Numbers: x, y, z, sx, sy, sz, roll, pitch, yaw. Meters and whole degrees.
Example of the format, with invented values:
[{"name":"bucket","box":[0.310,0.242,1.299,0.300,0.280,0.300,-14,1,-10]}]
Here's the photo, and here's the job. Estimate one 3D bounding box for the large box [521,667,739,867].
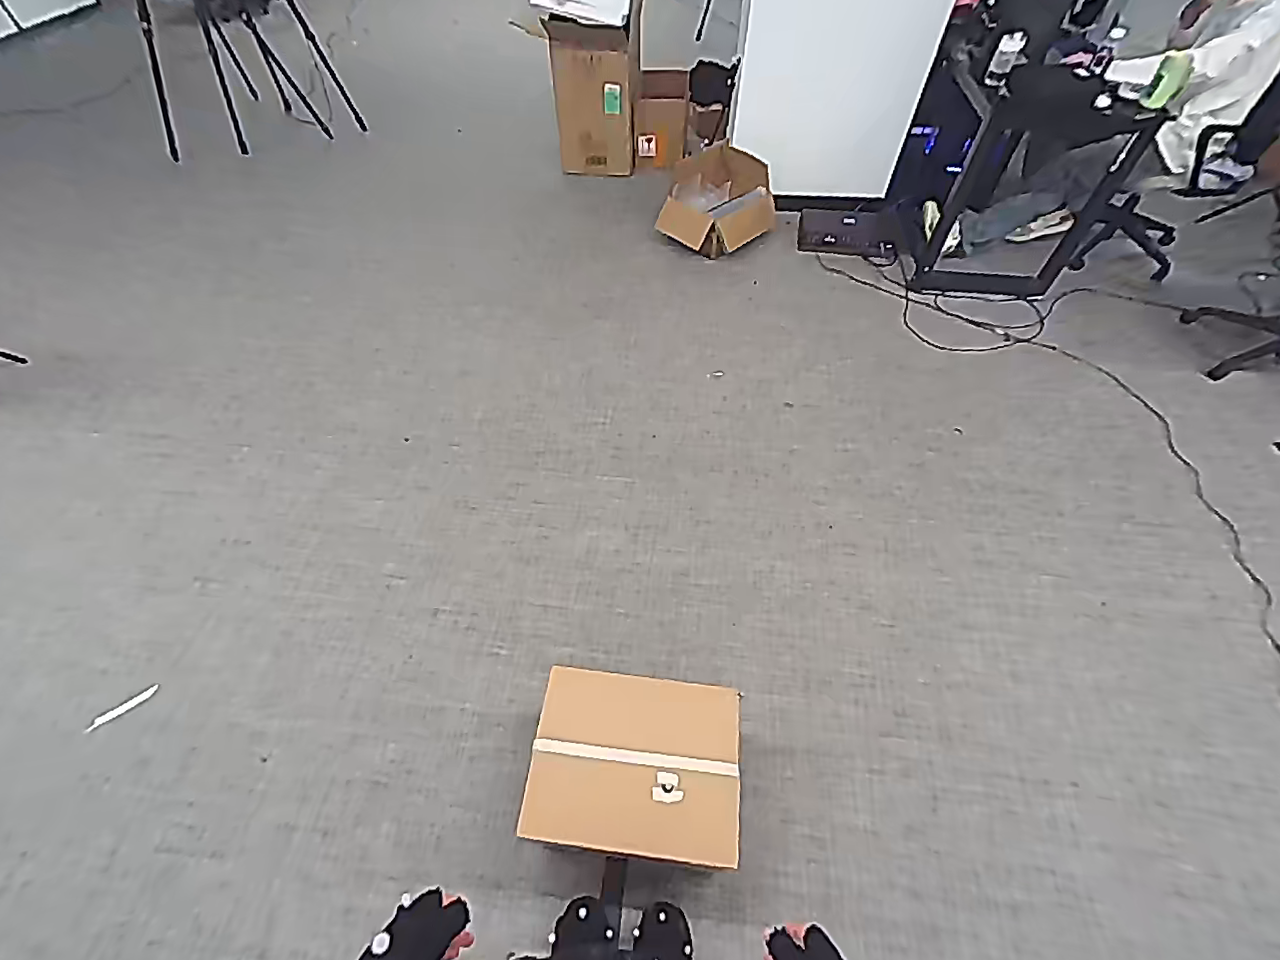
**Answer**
[{"name":"large box","box":[-0.011,0.629,1.178,0.408,0.320,0.320,6,54,3]}]
